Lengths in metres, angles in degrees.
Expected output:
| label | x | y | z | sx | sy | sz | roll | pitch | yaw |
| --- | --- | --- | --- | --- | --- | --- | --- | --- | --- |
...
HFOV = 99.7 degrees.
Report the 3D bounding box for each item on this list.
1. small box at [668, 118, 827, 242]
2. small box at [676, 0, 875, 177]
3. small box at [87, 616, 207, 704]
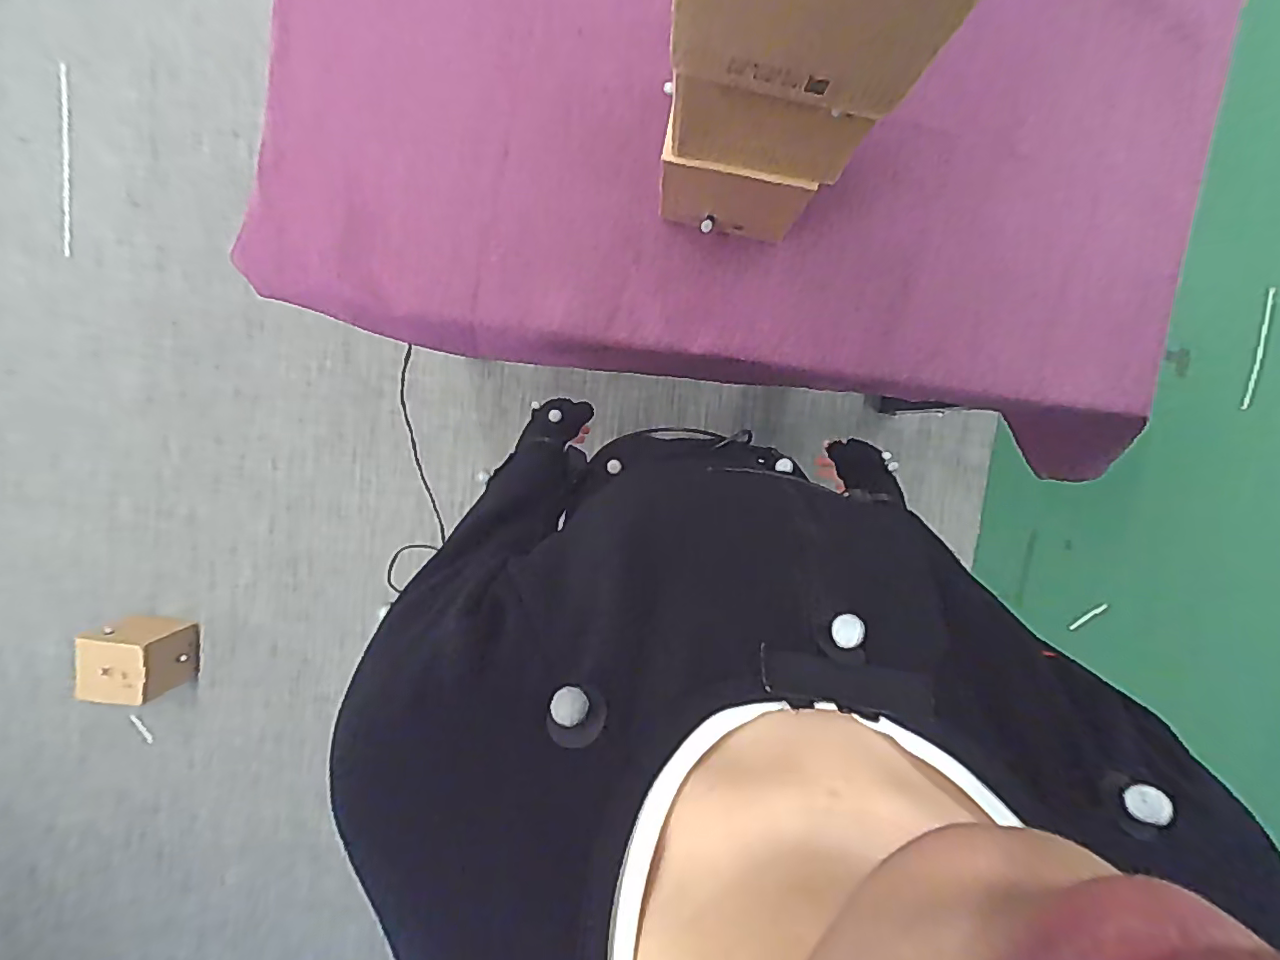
| label | x | y | z | sx | sy | sz | roll | pitch | yaw |
| --- | --- | --- | --- | --- | --- | --- | --- | --- | --- |
| small box | 0.127 | -0.402 | 0.620 | 0.168 | 0.176 | 0.179 | 12 | 96 | 1 |
| small box | 0.130 | -0.387 | 0.459 | 0.179 | 0.176 | 0.168 | 10 | 96 | 0 |
| small box | -1.330 | 0.480 | 1.467 | 0.179 | 0.176 | 0.168 | 6 | 96 | 0 |
